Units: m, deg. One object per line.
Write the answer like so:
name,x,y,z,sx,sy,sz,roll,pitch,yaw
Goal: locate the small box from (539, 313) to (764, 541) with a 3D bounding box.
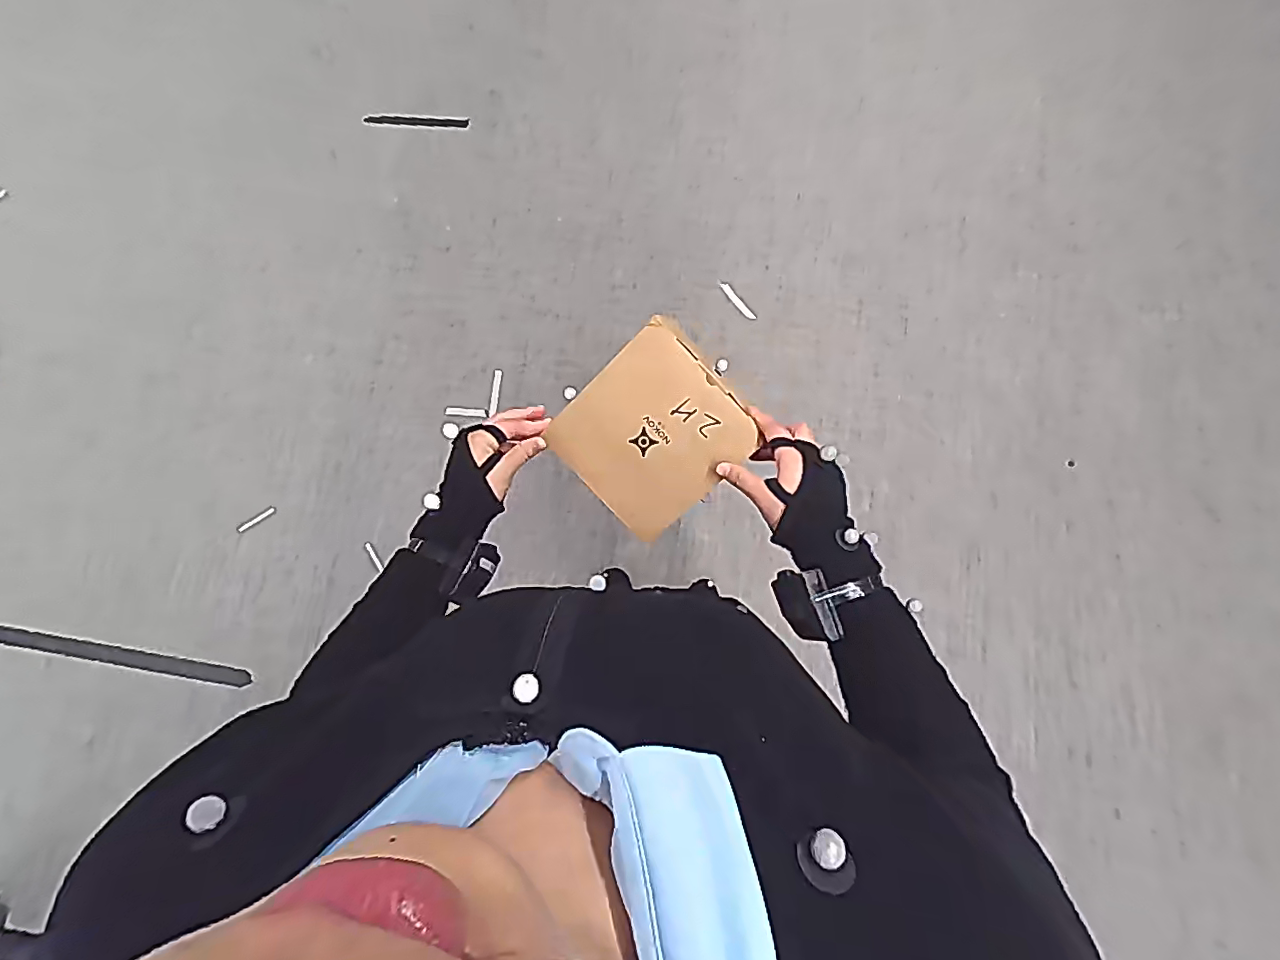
small box,0.021,-0.065,0.622,0.179,0.176,0.168,-42,95,15
